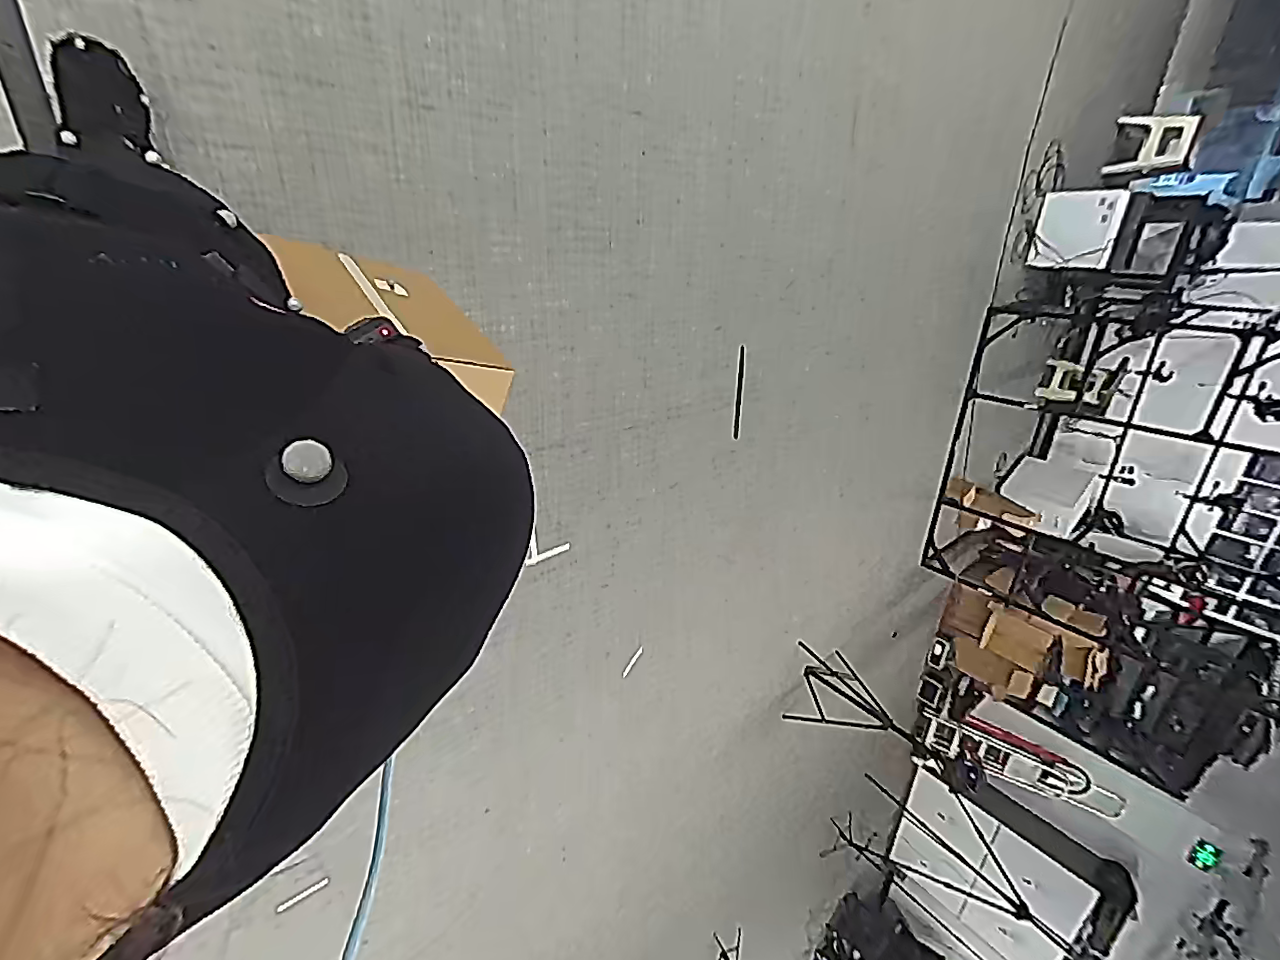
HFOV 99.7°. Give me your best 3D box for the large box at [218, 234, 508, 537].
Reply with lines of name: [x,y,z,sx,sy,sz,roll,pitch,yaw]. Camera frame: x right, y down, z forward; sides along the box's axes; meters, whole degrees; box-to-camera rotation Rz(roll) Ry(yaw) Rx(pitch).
large box: [-0.480,-0.156,0.901,0.320,0.408,0.320,-1,125,-45]
